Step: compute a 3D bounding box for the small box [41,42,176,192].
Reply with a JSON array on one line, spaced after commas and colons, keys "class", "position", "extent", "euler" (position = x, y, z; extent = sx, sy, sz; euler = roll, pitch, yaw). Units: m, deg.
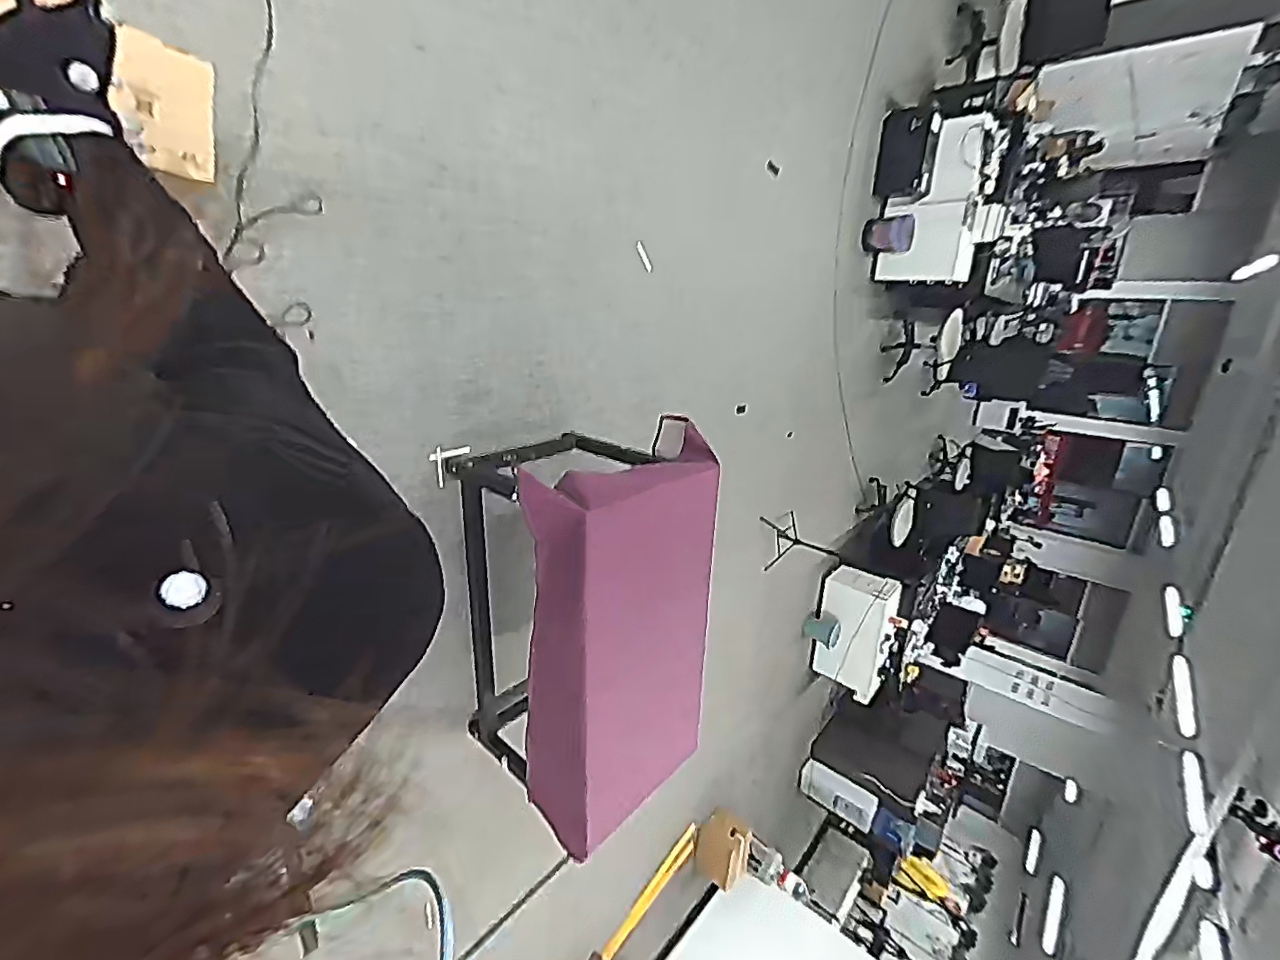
[{"class": "small box", "position": [-0.912, -0.621, 0.954], "extent": [0.179, 0.176, 0.168], "euler": [-14, 114, -46]}]

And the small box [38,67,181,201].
[{"class": "small box", "position": [-1.033, -0.660, 1.054], "extent": [0.168, 0.176, 0.179], "euler": [-16, 116, -46]}]

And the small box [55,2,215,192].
[{"class": "small box", "position": [-0.791, -0.580, 0.849], "extent": [0.168, 0.176, 0.179], "euler": [-4, 106, -49]}]
